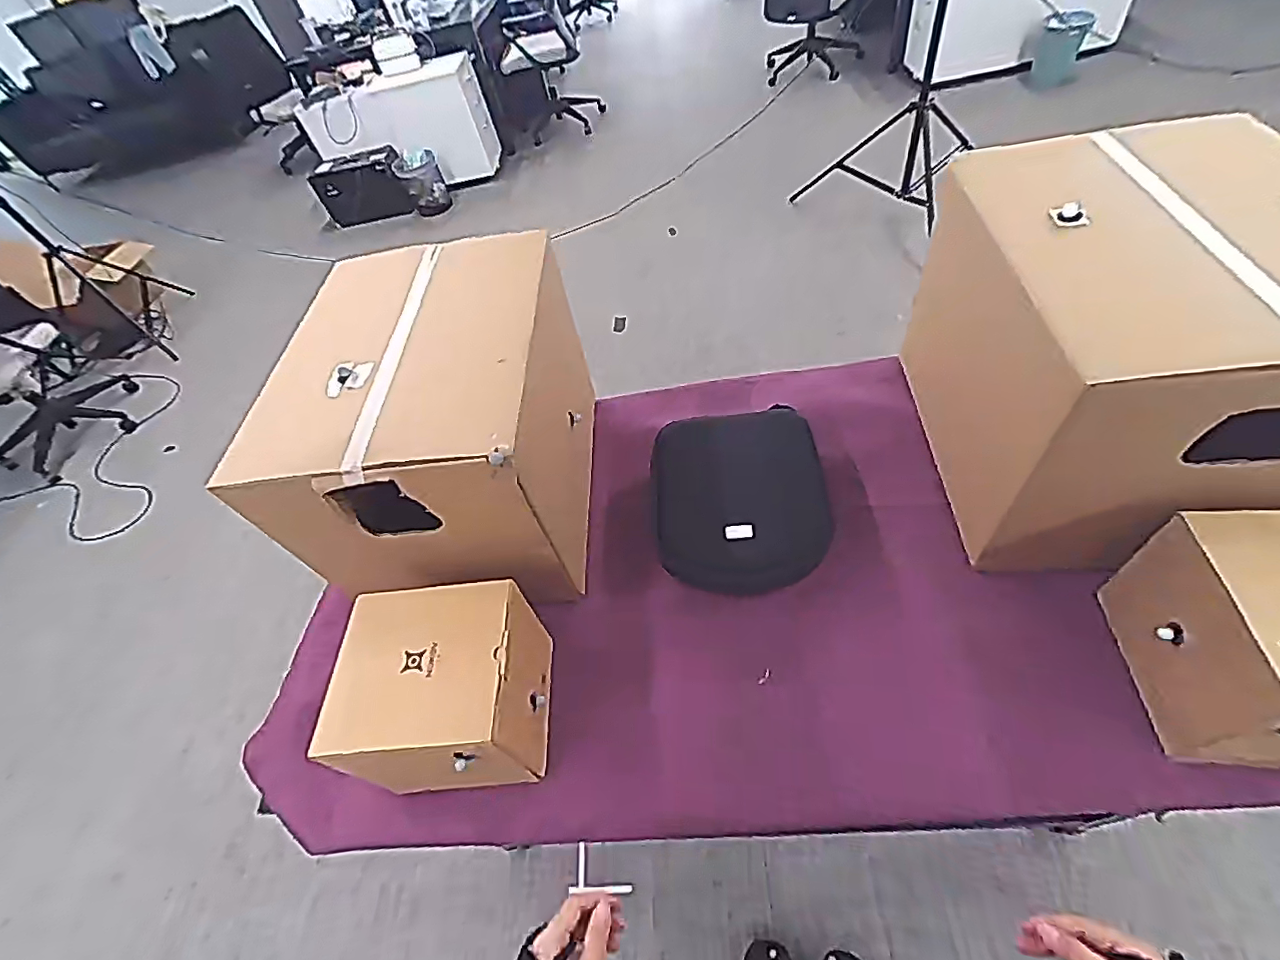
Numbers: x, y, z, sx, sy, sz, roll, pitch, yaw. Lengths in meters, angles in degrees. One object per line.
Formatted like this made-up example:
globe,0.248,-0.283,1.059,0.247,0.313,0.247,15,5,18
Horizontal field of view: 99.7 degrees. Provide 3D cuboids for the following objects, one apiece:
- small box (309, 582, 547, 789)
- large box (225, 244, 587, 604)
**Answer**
small box,-0.215,0.234,0.605,0.179,0.176,0.168,-7,50,3
large box,-0.255,-0.064,0.761,0.320,0.320,0.408,-7,54,6
